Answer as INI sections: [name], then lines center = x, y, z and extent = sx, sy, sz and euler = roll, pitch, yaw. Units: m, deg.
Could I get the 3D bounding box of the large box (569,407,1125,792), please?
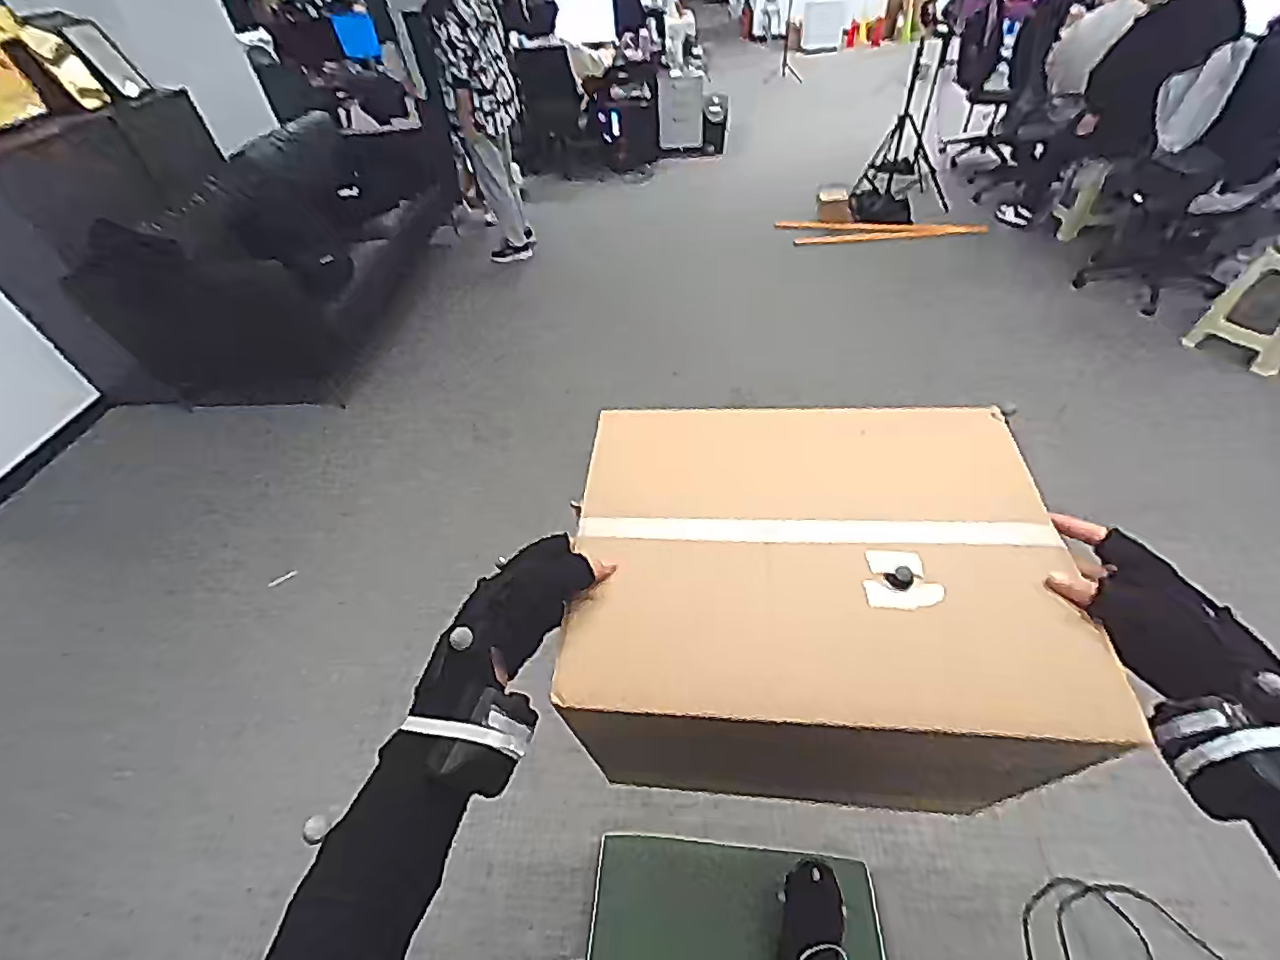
[large box]
center = 0.161, 0.136, 0.599
extent = 0.408, 0.320, 0.320
euler = 1, 52, 6
